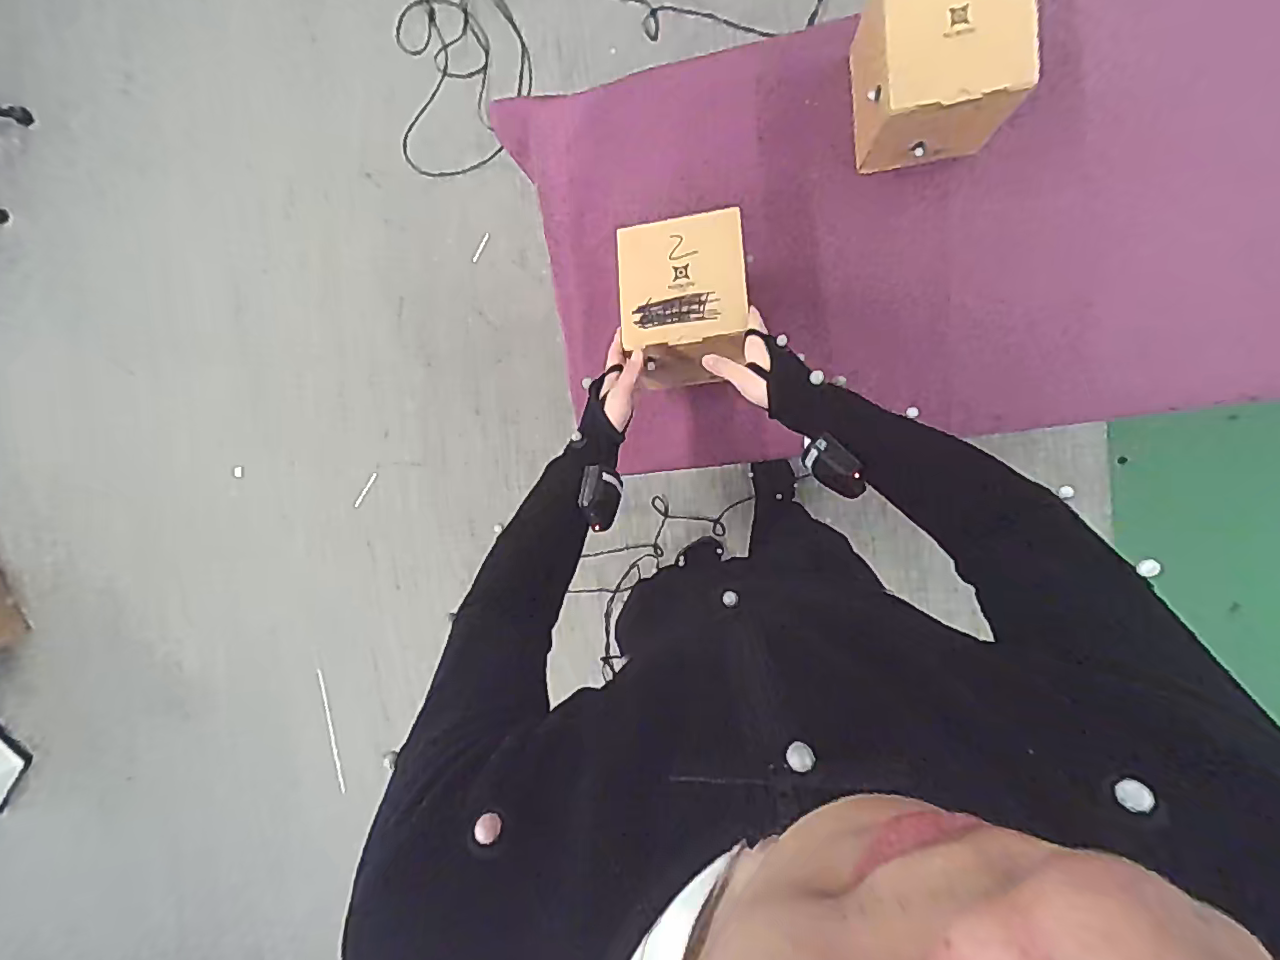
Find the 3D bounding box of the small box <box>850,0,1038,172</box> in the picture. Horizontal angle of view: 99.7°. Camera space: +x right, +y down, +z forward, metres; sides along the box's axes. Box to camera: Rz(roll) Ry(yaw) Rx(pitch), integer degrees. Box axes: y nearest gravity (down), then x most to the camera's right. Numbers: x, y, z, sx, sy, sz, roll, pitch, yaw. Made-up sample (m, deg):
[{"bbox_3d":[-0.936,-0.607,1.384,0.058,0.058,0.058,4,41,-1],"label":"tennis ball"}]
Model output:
[{"bbox_3d":[0.382,-0.541,0.708,0.168,0.176,0.179,-6,96,9],"label":"small box"}]
